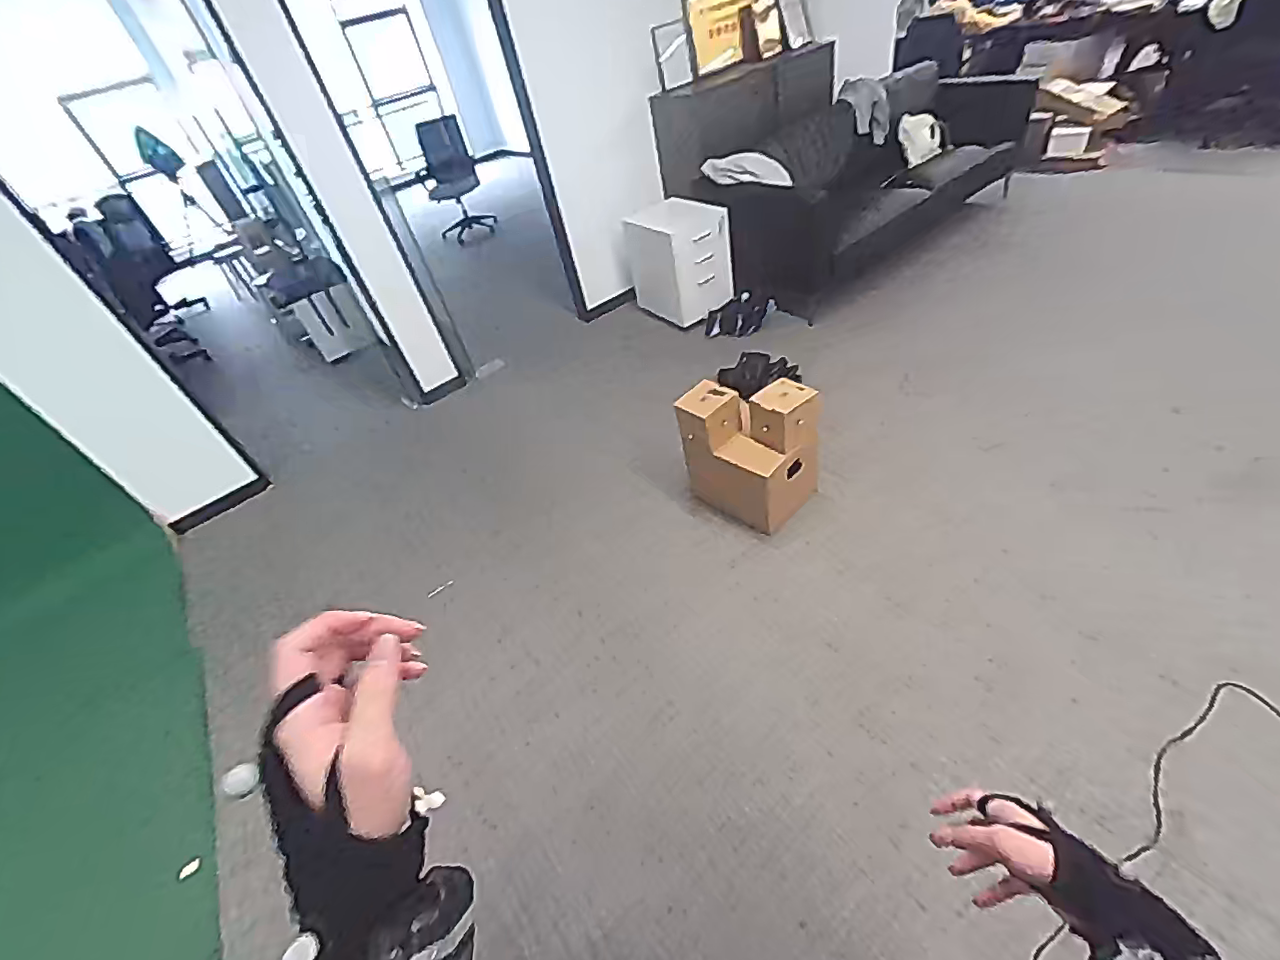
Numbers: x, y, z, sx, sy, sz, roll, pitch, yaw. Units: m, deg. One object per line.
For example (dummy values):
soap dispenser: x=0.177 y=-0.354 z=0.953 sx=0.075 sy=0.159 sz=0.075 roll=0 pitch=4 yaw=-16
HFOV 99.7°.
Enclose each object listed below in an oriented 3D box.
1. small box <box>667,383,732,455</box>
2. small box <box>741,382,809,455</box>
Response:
small box: x=0.226 y=-0.223 z=1.996 sx=0.179 sy=0.176 sz=0.168 roll=-38 pitch=46 yaw=-22
small box: x=0.481 y=-0.215 z=1.917 sx=0.179 sy=0.176 sz=0.168 roll=-33 pitch=44 yaw=-23
